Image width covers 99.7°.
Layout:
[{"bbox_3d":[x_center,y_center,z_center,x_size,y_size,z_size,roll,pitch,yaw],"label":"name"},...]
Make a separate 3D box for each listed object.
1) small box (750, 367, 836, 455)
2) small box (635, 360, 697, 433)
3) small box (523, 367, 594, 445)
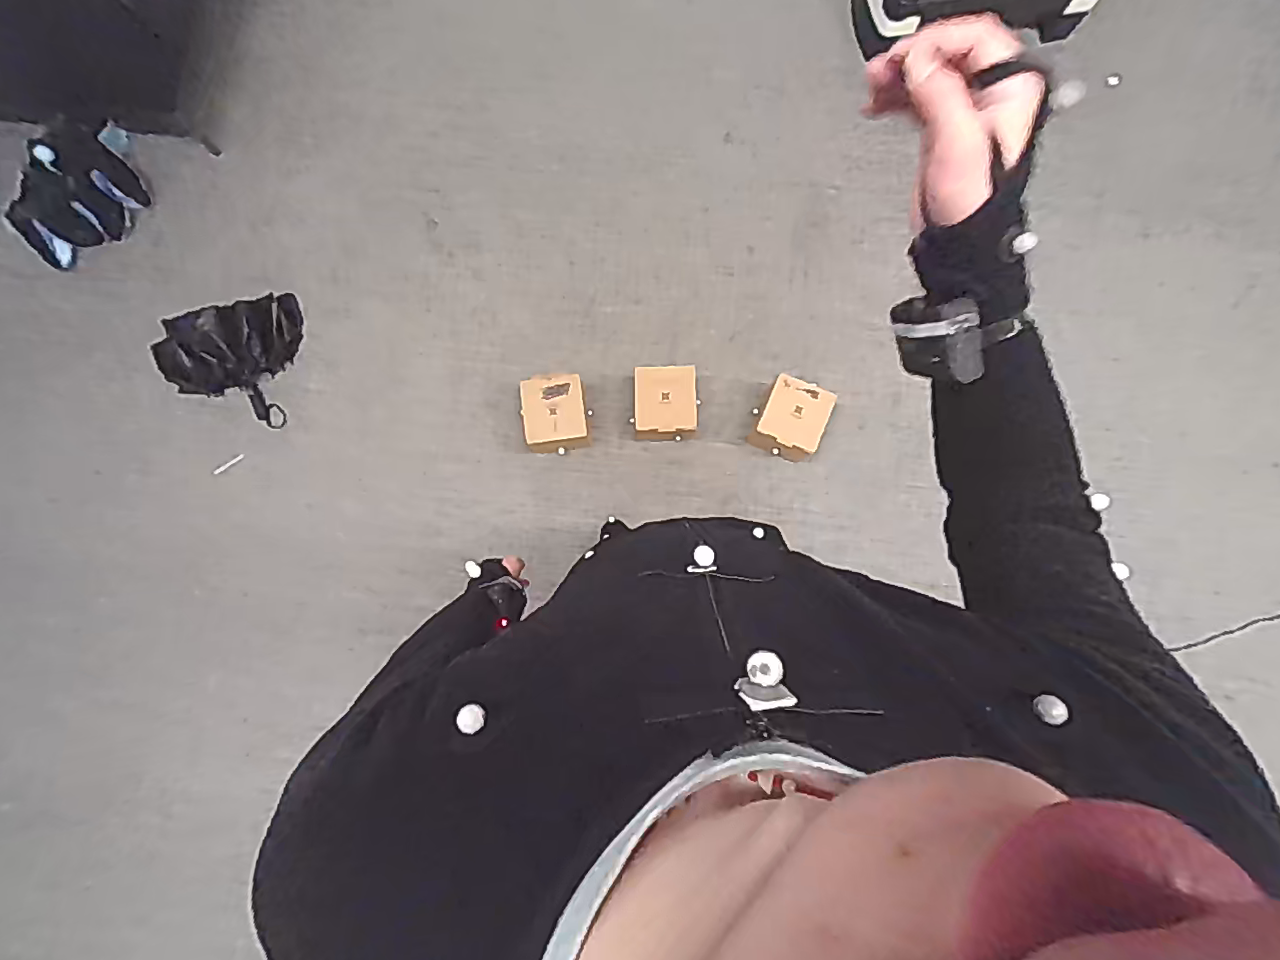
[{"bbox_3d":[0.418,-0.184,1.514,0.168,0.176,0.179,24,86,4],"label":"small box"},{"bbox_3d":[0.071,-0.229,1.527,0.168,0.176,0.179,-1,83,0],"label":"small box"},{"bbox_3d":[-0.225,-0.204,1.526,0.168,0.176,0.179,-7,85,0],"label":"small box"}]
